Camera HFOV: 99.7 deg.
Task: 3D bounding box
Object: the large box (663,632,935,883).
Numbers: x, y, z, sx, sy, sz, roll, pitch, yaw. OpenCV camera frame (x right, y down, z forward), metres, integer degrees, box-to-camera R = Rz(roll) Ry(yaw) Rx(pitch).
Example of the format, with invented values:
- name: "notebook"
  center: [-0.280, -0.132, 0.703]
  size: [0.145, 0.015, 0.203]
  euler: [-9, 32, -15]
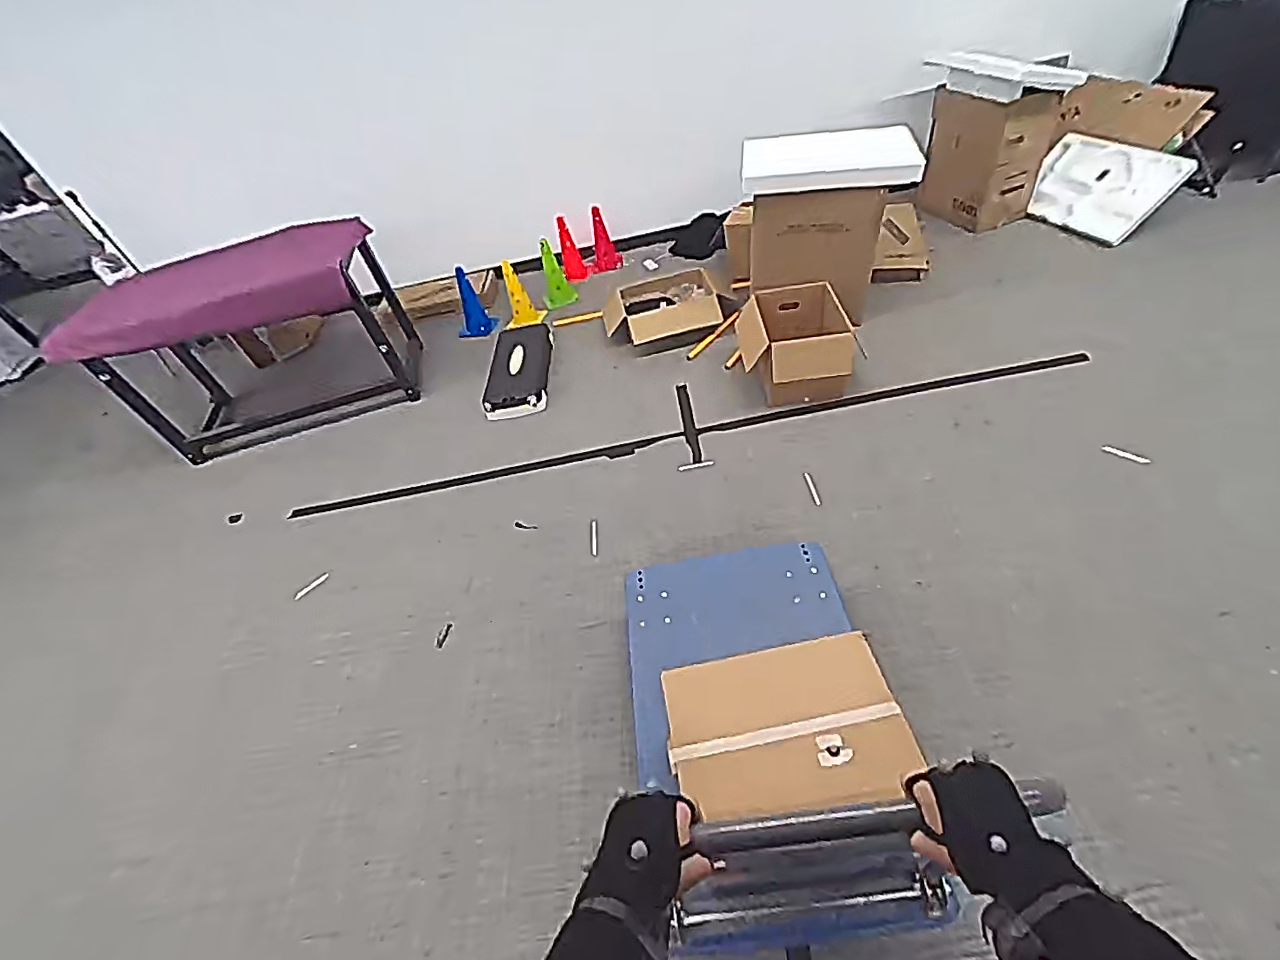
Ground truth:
- name: "large box"
  center: [0.281, 0.552, 1.072]
  size: [0.408, 0.320, 0.320]
  euler: [-12, 46, 1]
